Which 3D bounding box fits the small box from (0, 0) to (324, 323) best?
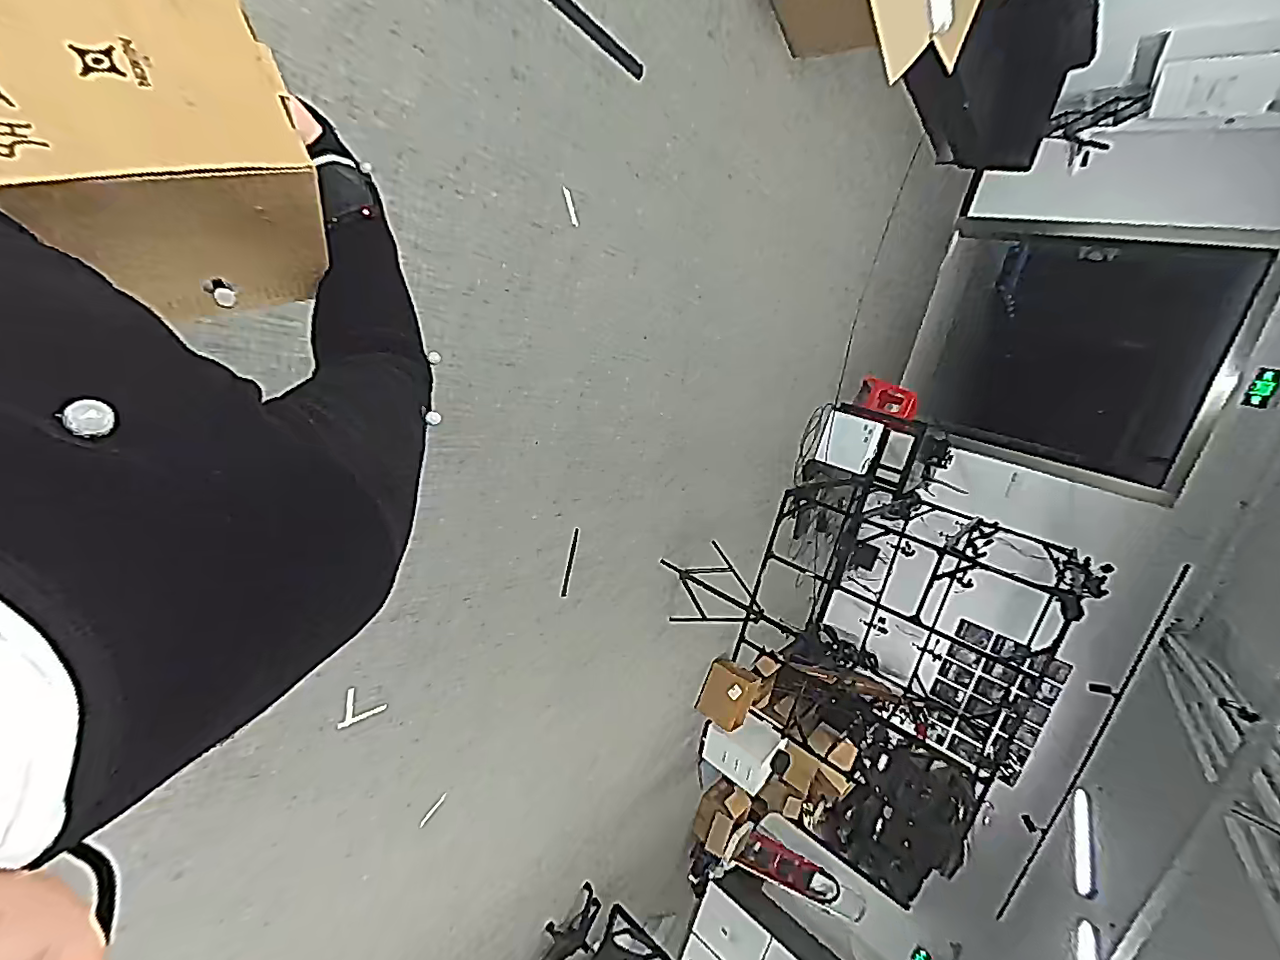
[{"bbox_3d":[-0.374,-0.251,0.432,0.179,0.176,0.168,-23,85,-29],"label":"small box"}]
